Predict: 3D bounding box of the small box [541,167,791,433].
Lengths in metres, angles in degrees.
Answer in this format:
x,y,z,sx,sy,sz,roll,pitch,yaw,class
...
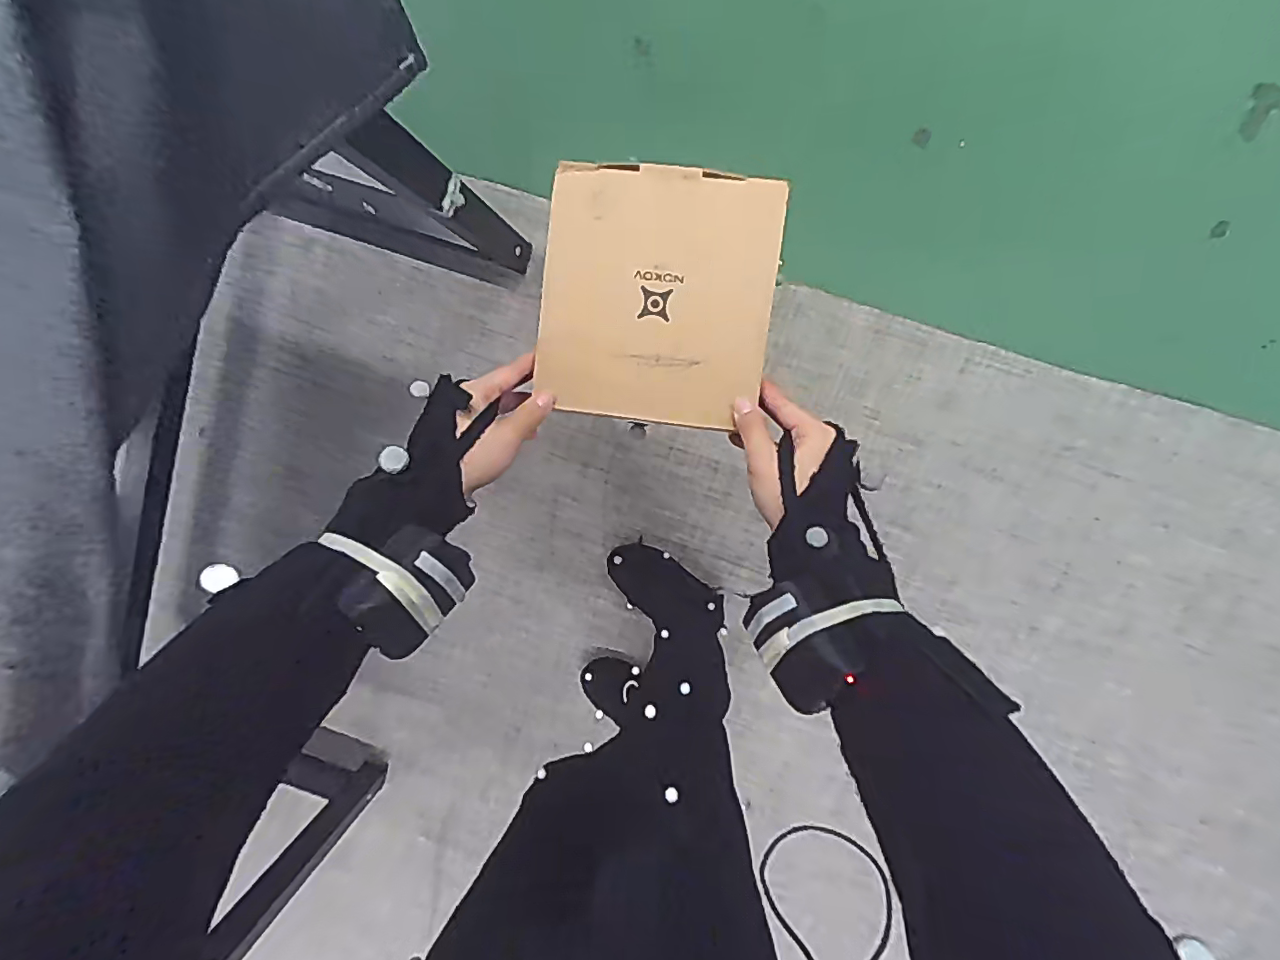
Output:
x,y,z,sx,sy,sz,roll,pitch,yaw,class
0.022,-0.136,0.469,0.168,0.176,0.179,7,96,5,small box
